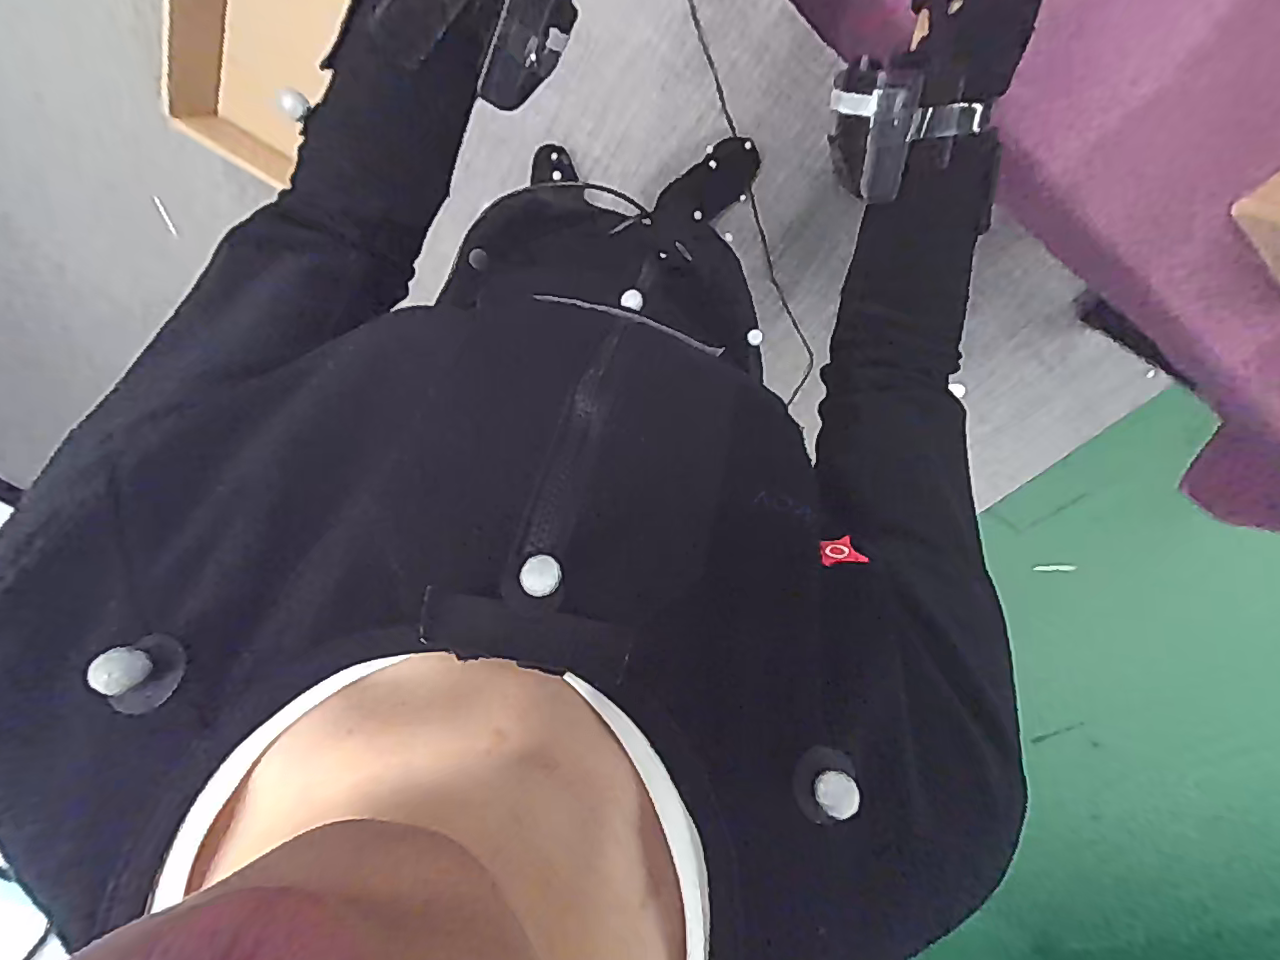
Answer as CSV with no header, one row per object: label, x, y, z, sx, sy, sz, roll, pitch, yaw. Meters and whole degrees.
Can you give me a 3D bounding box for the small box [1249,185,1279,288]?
small box,0.667,-0.207,0.434,0.168,0.176,0.179,37,123,-17
